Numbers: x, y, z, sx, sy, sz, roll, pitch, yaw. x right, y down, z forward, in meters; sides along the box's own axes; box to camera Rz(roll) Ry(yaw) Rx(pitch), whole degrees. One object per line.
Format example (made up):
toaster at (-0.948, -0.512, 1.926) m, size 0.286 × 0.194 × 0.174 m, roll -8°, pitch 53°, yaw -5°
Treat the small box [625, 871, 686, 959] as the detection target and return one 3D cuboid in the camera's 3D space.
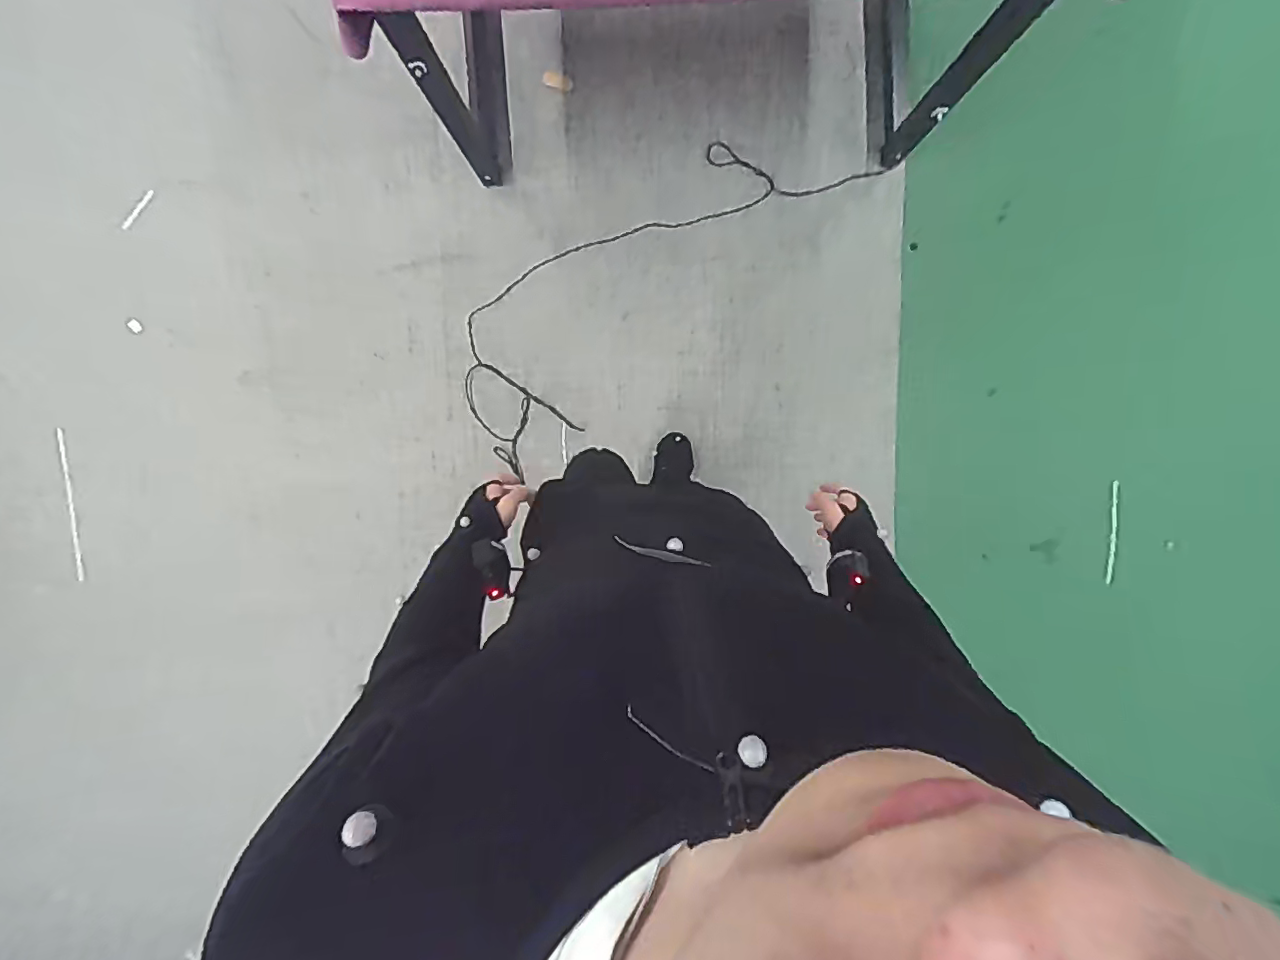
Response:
small box at (0.050, 1.346, 1.650) m, size 0.168 × 0.176 × 0.179 m, roll -9°, pitch 96°, yaw 2°
